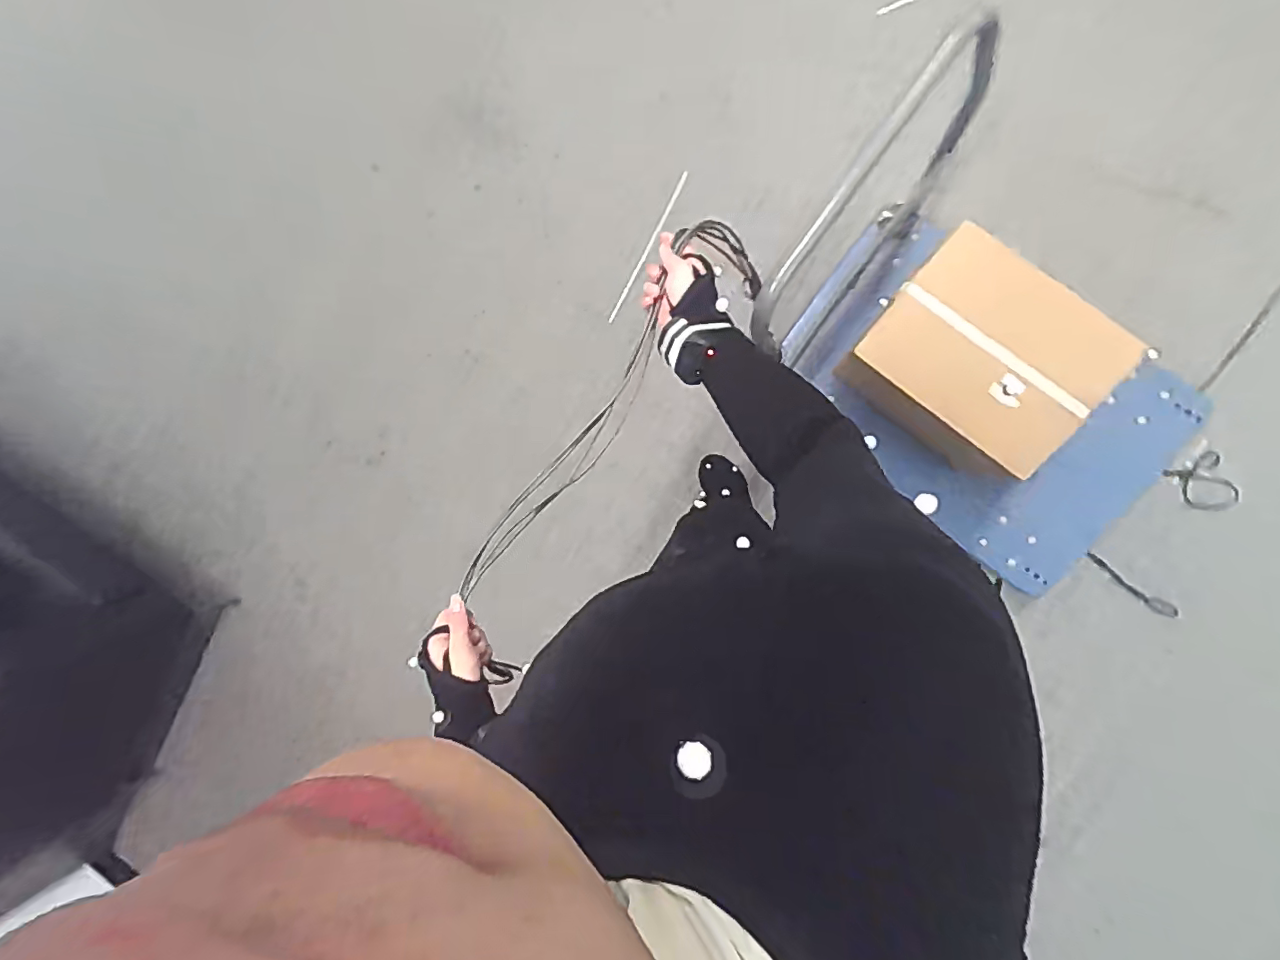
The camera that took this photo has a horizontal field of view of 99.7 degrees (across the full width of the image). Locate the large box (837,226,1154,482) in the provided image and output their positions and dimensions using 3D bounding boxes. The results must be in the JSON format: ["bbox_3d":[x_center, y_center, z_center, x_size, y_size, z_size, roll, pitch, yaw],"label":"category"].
[{"bbox_3d":[0.700,-0.246,1.154,0.408,0.320,0.320,41,101,5],"label":"large box"}]
